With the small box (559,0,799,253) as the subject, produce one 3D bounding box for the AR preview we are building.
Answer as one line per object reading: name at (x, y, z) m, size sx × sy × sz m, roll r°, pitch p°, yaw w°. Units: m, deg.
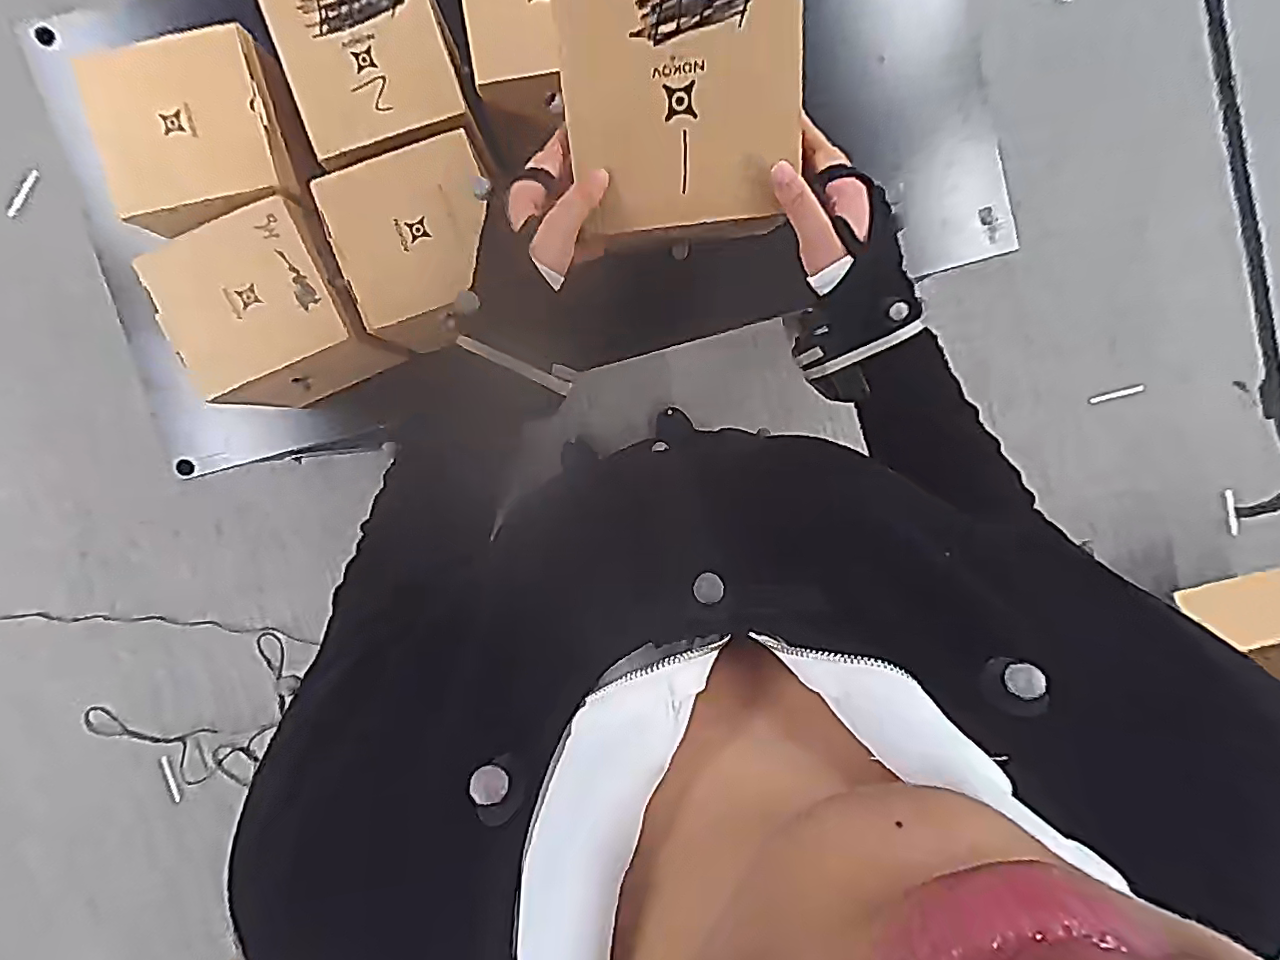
small box at (0.033, -0.301, 0.461) m, size 0.168 × 0.176 × 0.179 m, roll -5°, pitch 109°, yaw 4°
